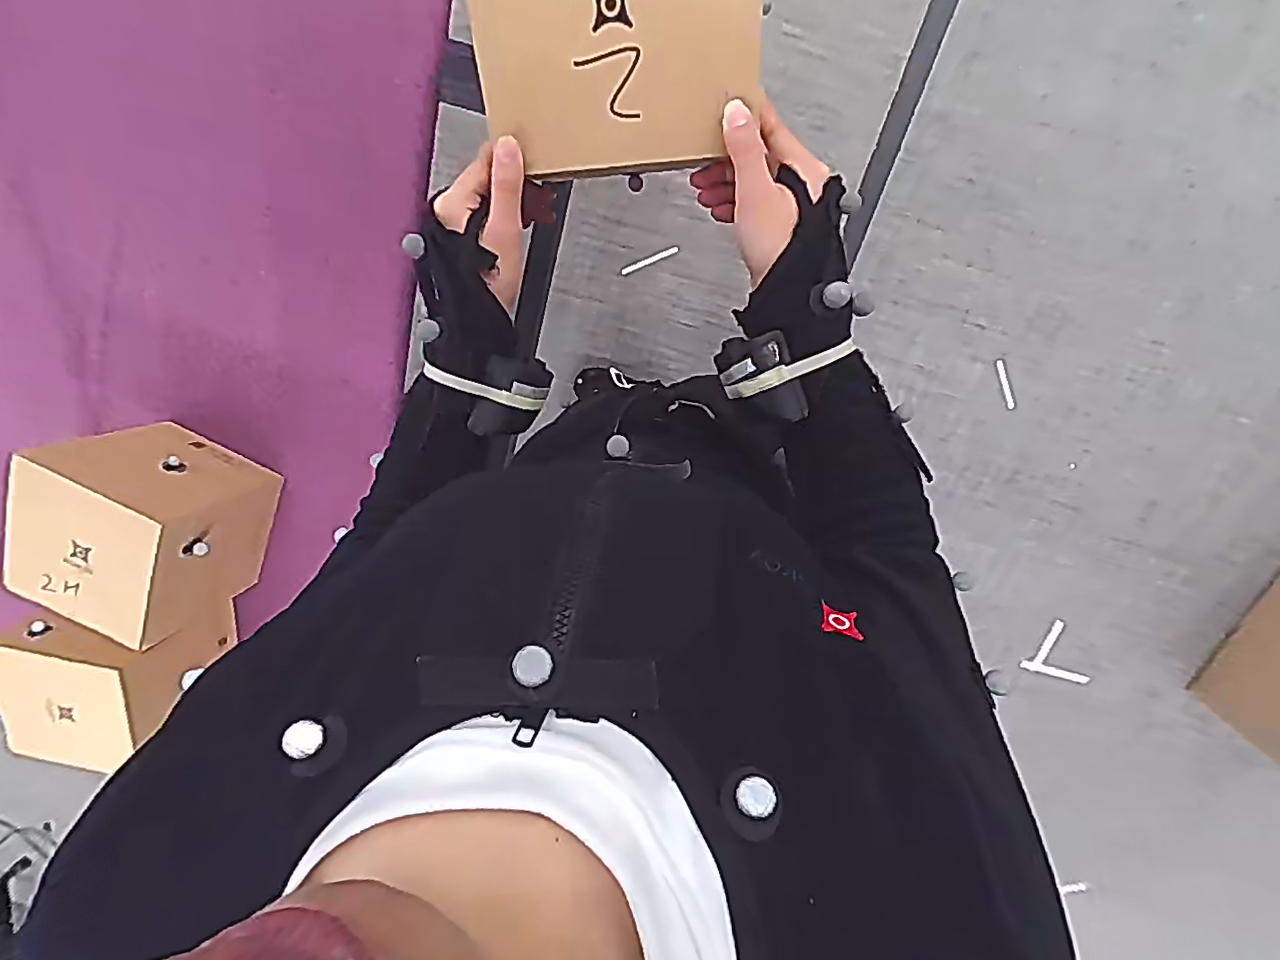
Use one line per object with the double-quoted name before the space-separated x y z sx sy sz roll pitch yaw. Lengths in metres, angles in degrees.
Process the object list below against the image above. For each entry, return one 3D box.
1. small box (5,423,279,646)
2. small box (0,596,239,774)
"small box" -0.572 0.051 0.641 0.168 0.176 0.179 26 109 -1
"small box" -0.672 0.247 0.717 0.179 0.176 0.168 9 108 4
